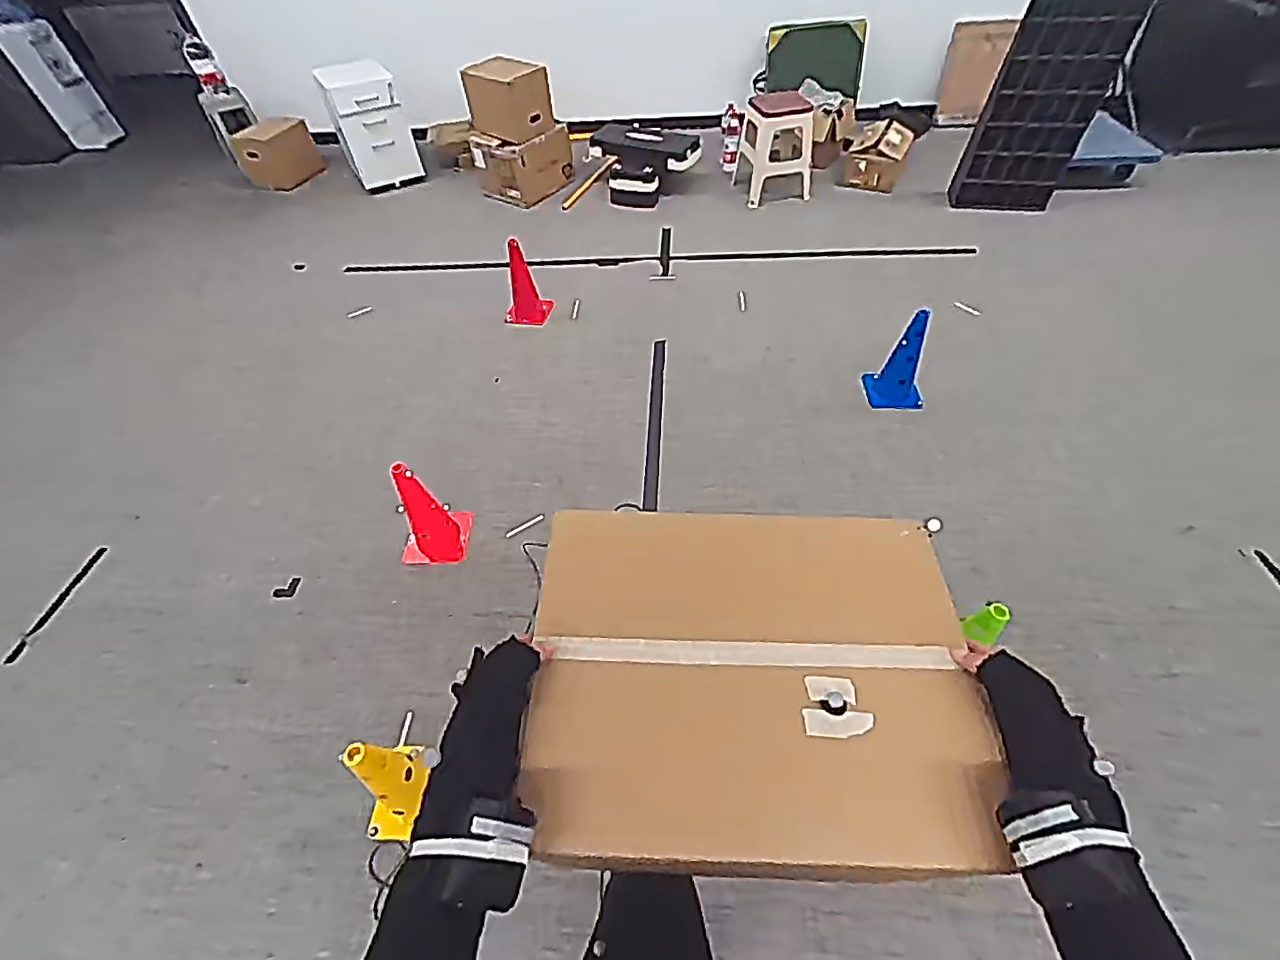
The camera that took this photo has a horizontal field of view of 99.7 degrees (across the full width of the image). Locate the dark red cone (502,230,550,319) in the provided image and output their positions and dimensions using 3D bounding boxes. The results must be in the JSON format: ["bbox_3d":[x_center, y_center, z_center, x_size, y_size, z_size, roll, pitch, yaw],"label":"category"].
[{"bbox_3d":[-0.548,-0.935,2.457,0.201,0.394,0.202,5,51,7],"label":"dark red cone"}]

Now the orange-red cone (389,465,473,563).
[{"bbox_3d":[-0.674,0.082,1.656,0.198,0.360,0.199,-3,52,3],"label":"orange-red cone"}]

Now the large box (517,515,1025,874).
[{"bbox_3d":[0.101,0.255,0.624,0.408,0.320,0.320,2,52,1],"label":"large box"}]

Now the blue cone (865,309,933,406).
[{"bbox_3d":[0.992,-0.464,2.013,0.192,0.380,0.193,3,51,5],"label":"blue cone"}]
